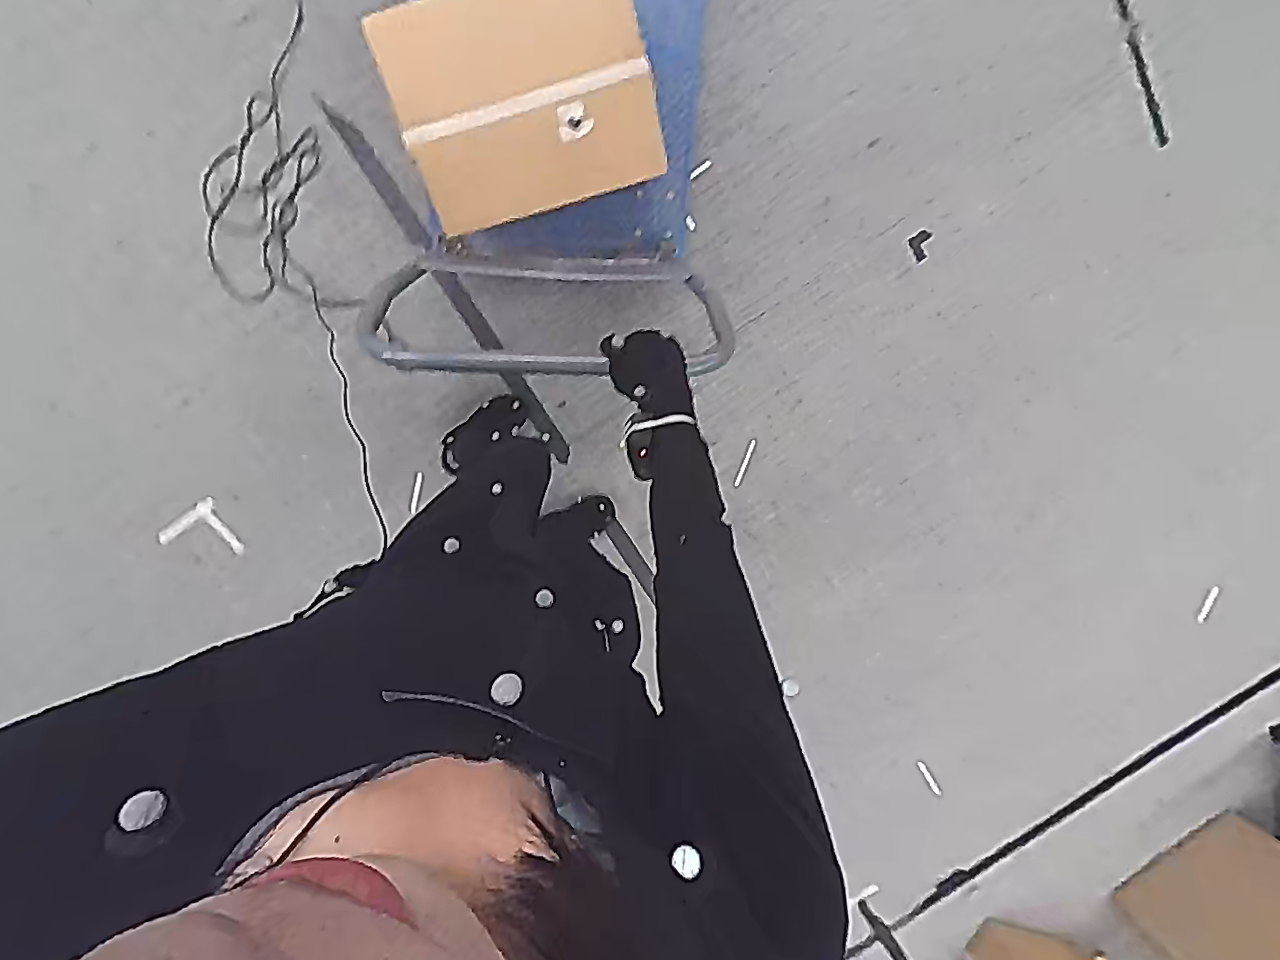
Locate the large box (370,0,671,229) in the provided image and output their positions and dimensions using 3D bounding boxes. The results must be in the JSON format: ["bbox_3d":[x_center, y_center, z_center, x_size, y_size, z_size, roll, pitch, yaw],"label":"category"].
[{"bbox_3d":[-0.193,-0.689,0.995,0.408,0.320,0.320,-17,119,1],"label":"large box"}]
